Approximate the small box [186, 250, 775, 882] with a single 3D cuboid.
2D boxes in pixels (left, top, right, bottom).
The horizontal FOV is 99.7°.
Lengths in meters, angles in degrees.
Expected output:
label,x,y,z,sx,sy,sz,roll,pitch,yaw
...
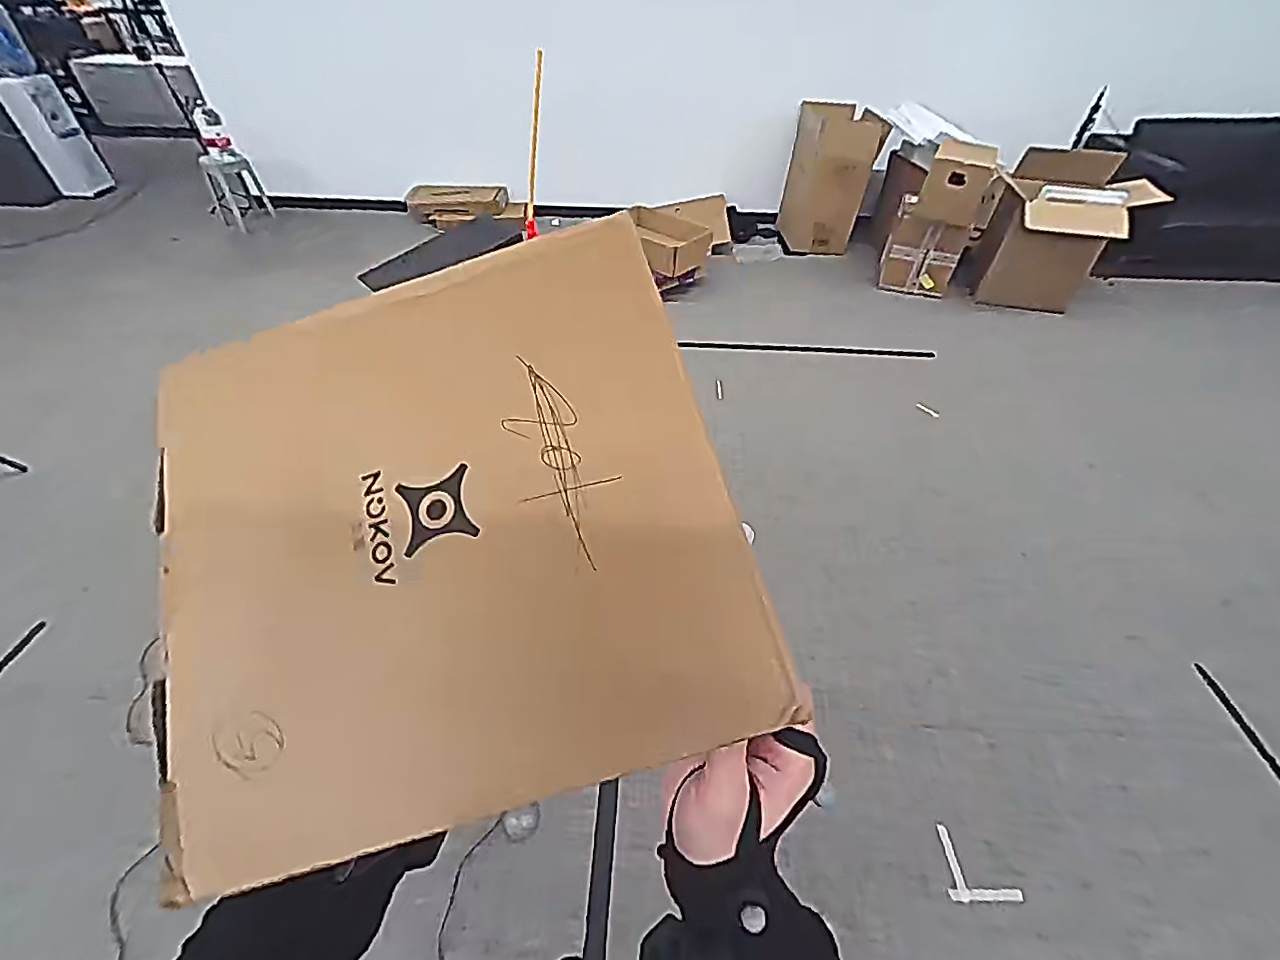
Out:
label,x,y,z,sx,sy,sz,roll,pitch,yaw
small box,-0.055,0.039,0.251,0.179,0.176,0.168,-19,72,1
